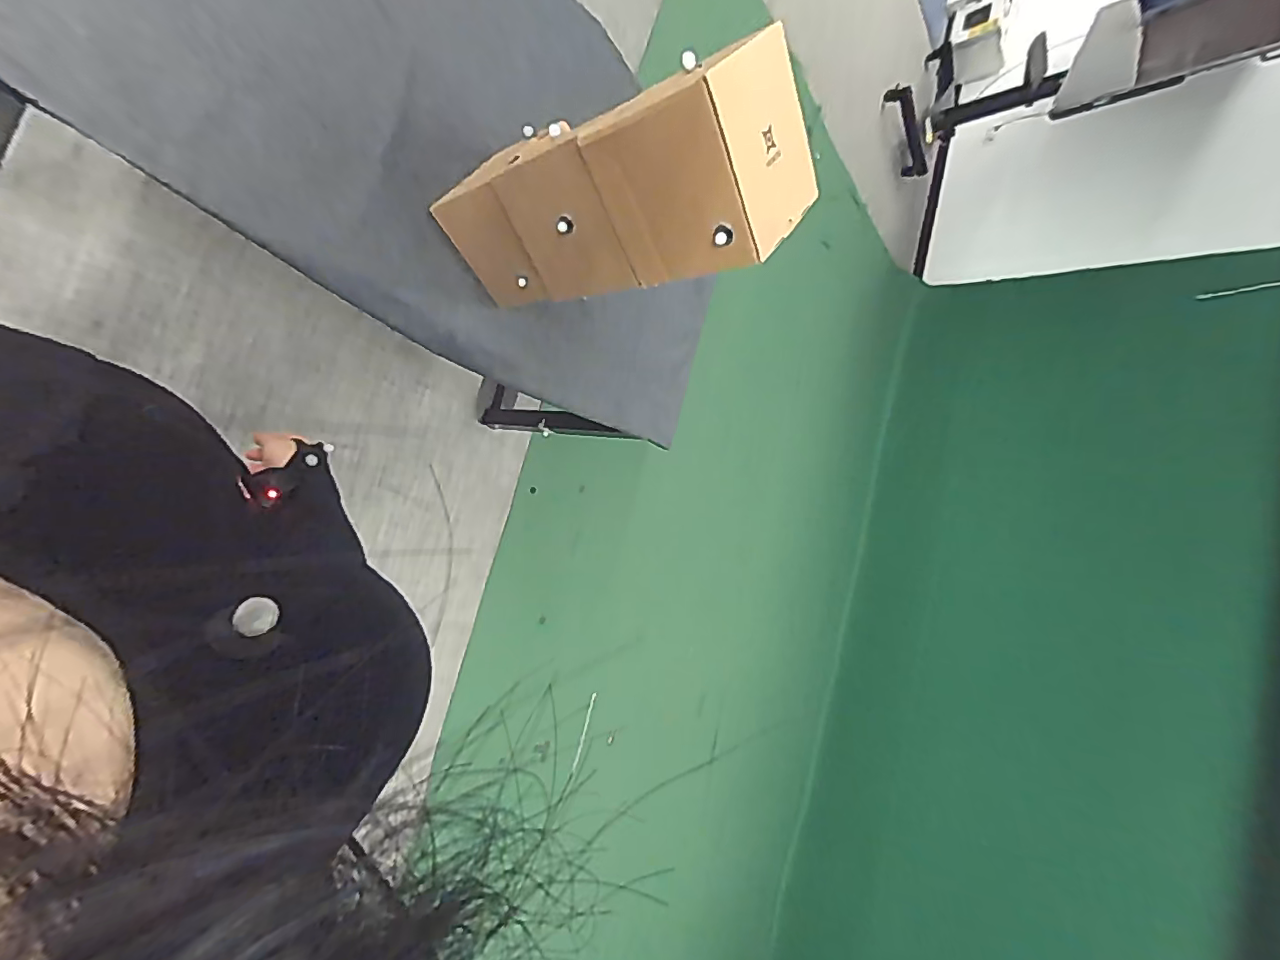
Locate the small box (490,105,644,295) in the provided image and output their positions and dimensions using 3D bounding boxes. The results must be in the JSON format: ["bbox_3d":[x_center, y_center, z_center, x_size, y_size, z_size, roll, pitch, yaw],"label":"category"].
[{"bbox_3d":[-0.055,-0.357,0.702,0.168,0.176,0.179,-51,129,-31],"label":"small box"}]

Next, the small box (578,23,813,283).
[{"bbox_3d":[0.063,-0.341,0.591,0.168,0.176,0.179,-53,131,-29],"label":"small box"}]
